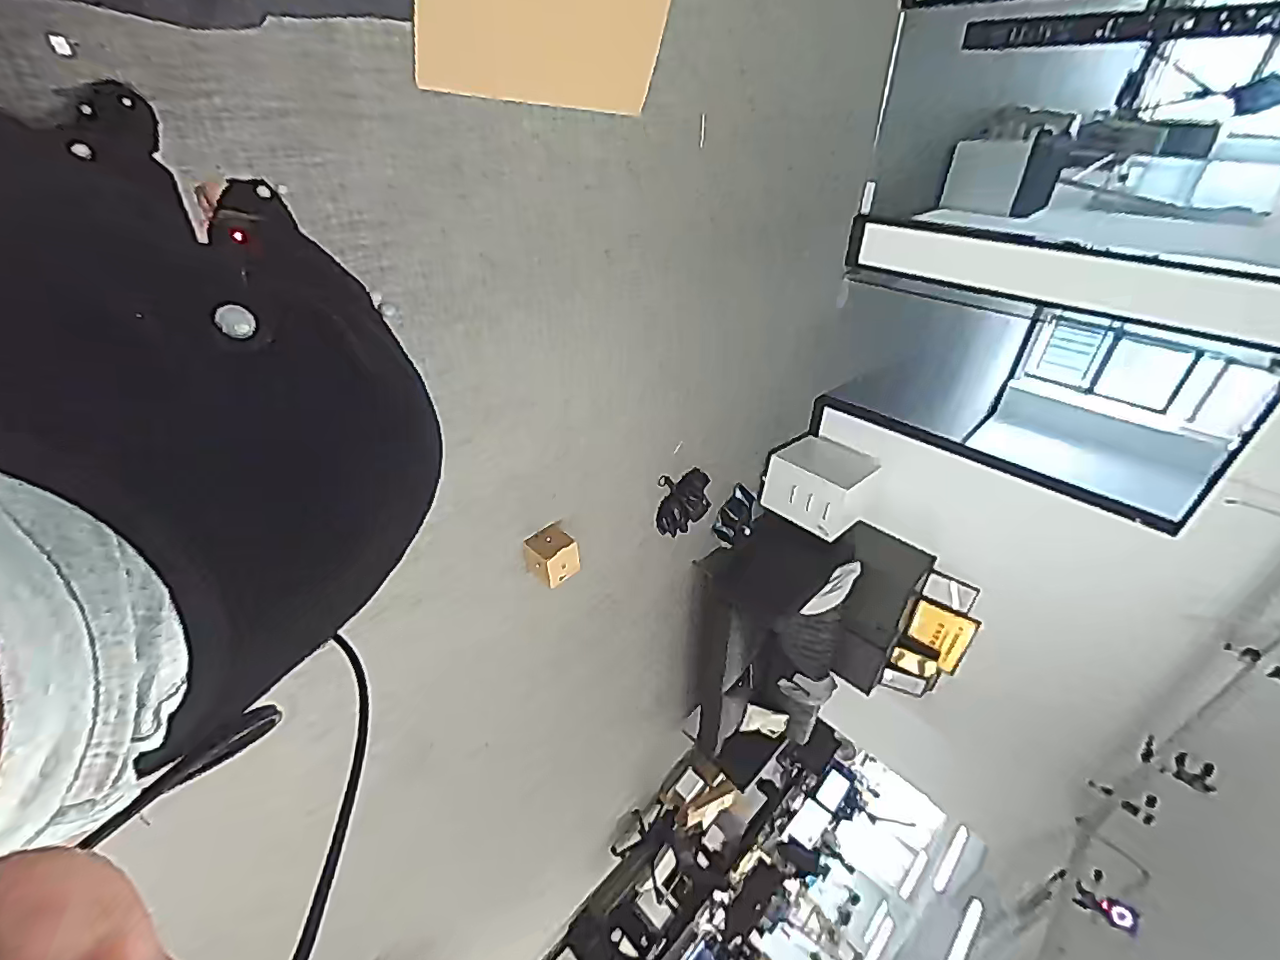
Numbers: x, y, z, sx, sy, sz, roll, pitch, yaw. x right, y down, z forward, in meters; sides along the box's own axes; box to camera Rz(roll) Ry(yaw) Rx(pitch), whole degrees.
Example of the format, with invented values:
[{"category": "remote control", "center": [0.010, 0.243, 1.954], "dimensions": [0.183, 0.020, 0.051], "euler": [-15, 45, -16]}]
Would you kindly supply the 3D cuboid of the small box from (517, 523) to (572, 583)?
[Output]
[{"category": "small box", "center": [-0.421, 0.311, 2.381], "dimensions": [0.168, 0.176, 0.179], "euler": [-33, 138, -33]}]
